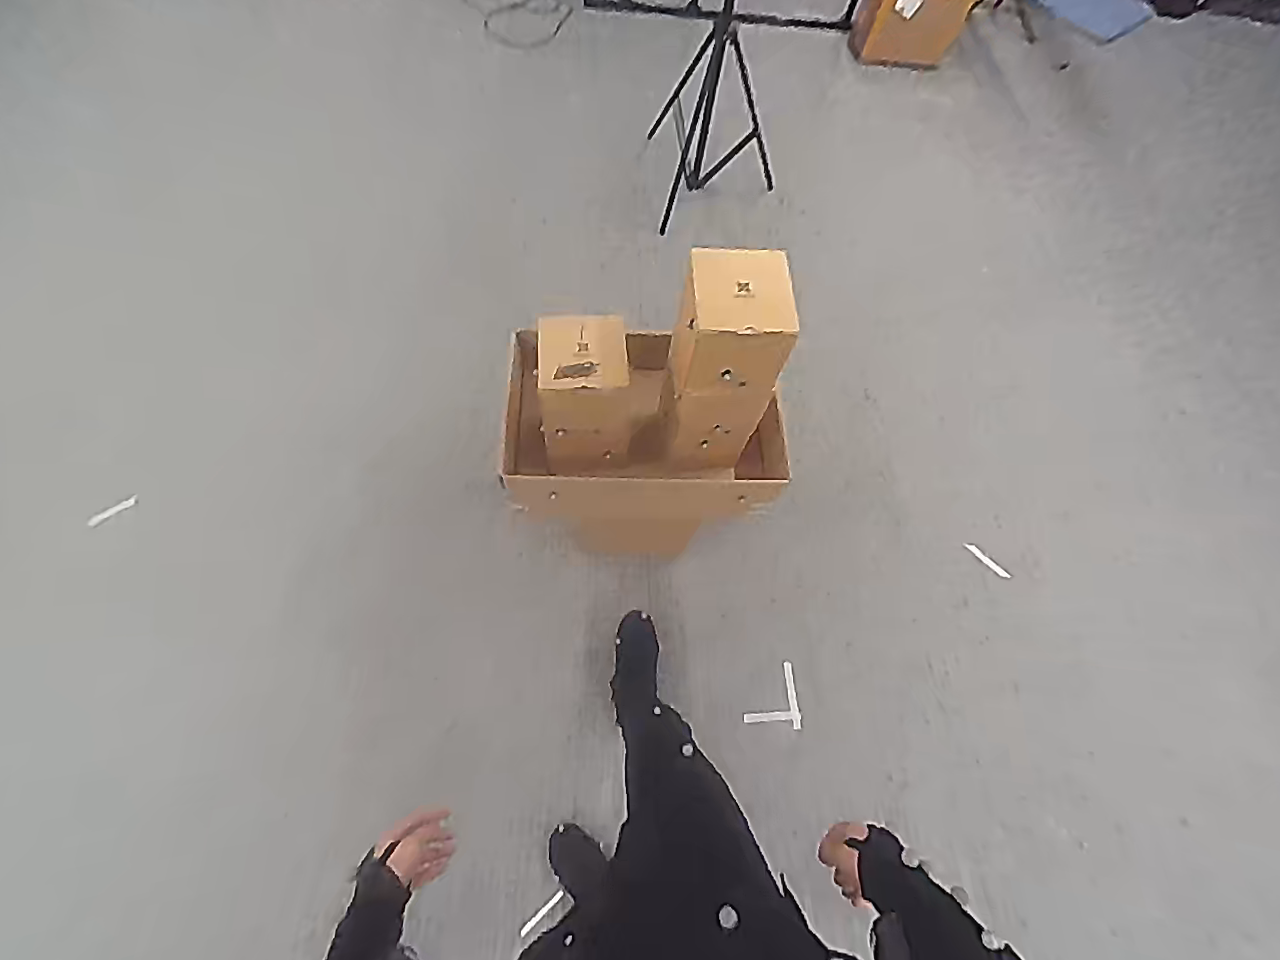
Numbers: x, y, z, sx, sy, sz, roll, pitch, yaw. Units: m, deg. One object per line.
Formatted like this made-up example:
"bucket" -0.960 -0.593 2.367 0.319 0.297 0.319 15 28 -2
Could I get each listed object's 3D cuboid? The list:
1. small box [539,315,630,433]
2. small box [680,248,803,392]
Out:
"small box" -0.109 -0.202 1.070 0.168 0.176 0.179 -2 64 -6
"small box" 0.165 -0.274 0.944 0.168 0.176 0.179 -1 67 -4
